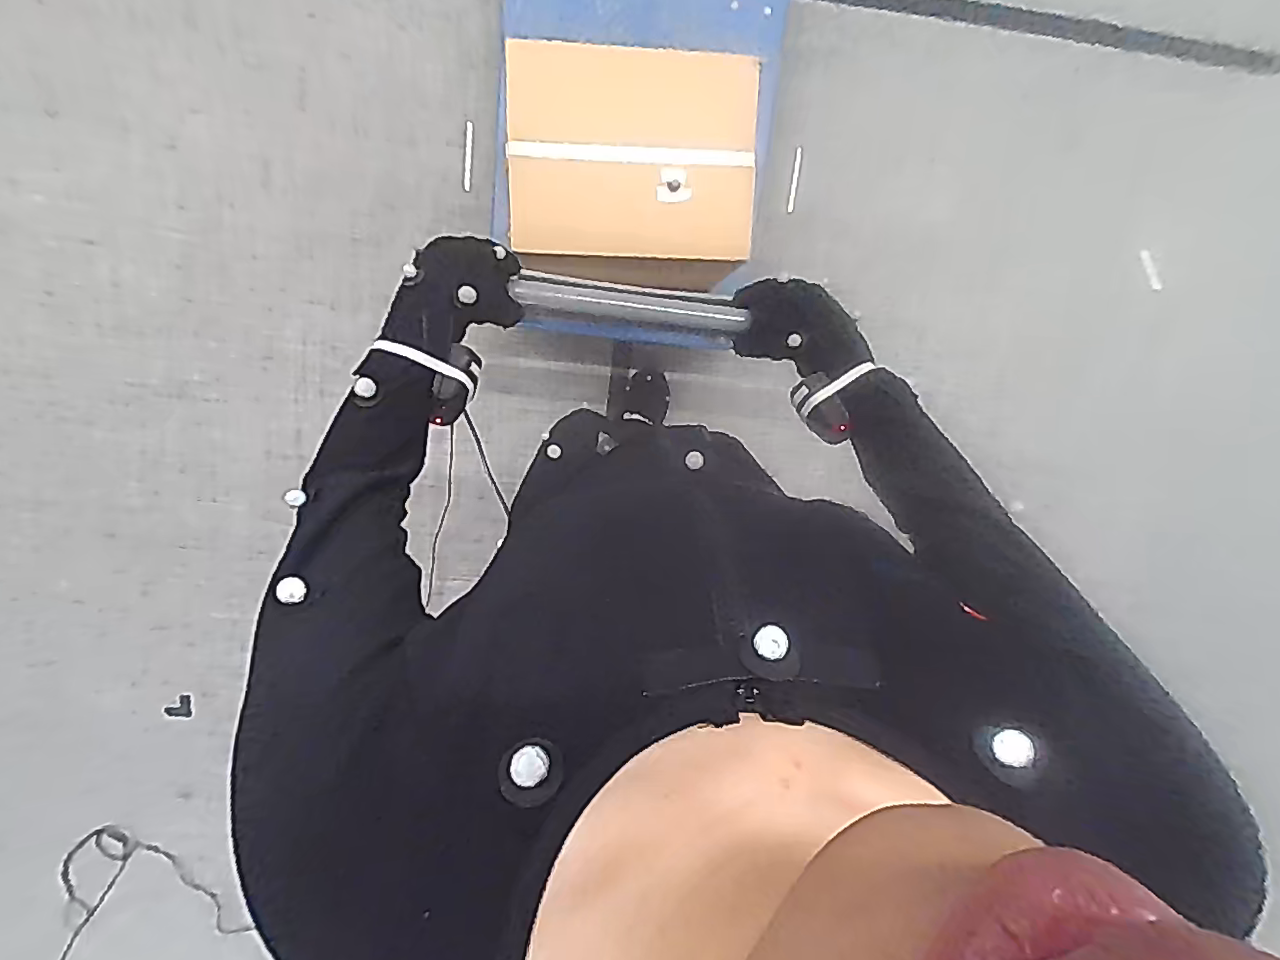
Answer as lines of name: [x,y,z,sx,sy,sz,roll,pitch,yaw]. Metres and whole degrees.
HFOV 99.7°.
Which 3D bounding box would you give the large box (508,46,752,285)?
large box: [-0.028,-0.564,1.043,0.408,0.320,0.320,0,101,-6]
